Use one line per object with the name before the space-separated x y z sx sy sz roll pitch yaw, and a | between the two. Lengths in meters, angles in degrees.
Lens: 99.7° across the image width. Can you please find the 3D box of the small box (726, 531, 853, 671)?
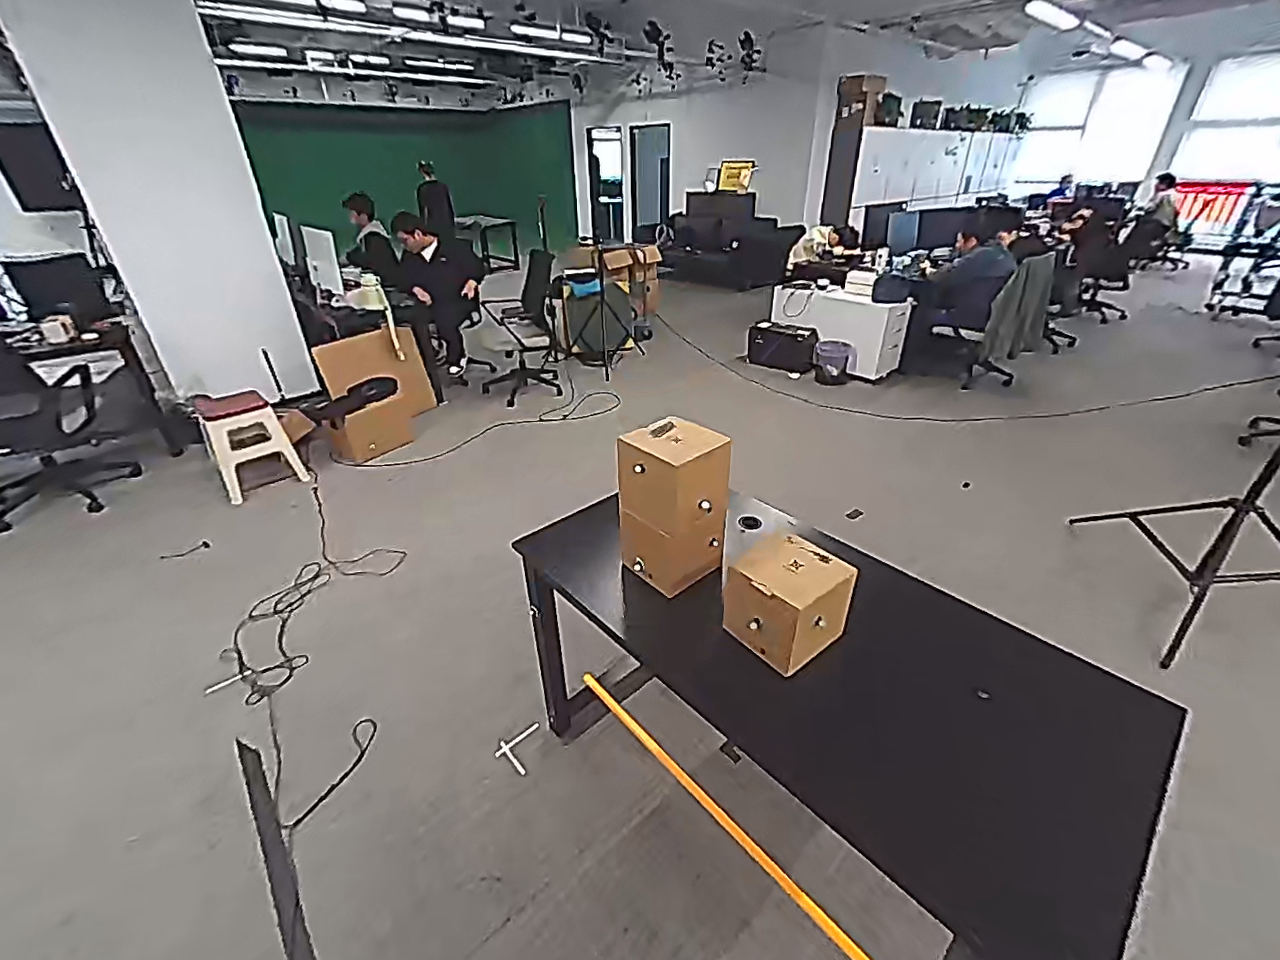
small box | 0.282 0.232 1.048 0.179 0.176 0.168 -23 38 -32

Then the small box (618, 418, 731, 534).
small box | 0.070 -0.012 1.146 0.168 0.176 0.179 -26 39 -36

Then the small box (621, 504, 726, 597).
small box | 0.073 0.130 1.230 0.179 0.176 0.168 -26 38 -35
